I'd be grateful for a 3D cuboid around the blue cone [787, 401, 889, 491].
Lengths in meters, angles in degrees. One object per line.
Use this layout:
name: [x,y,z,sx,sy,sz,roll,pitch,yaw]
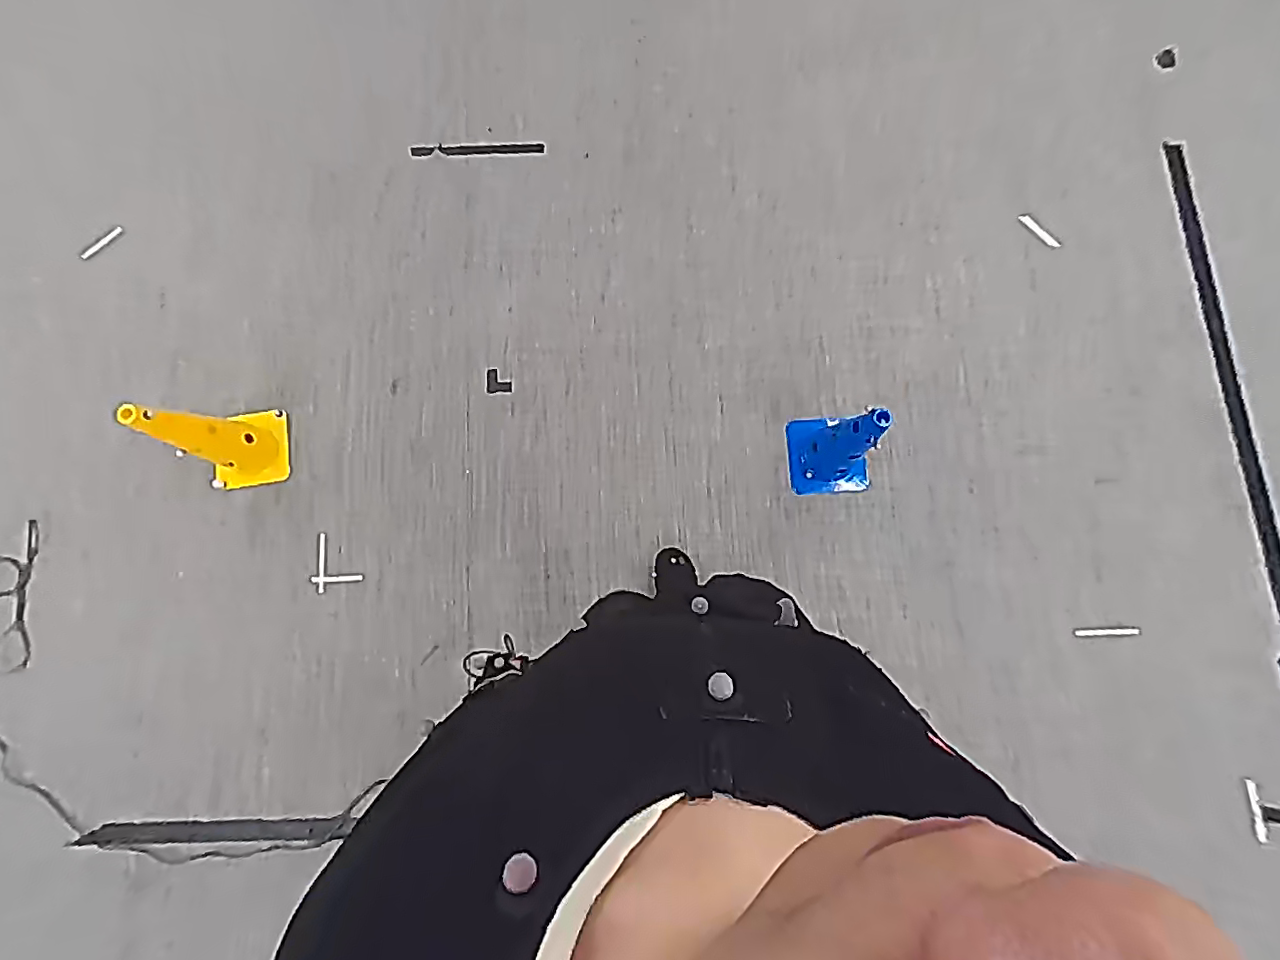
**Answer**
blue cone: [0.480,-0.096,1.244,0.193,0.380,0.192,-2,79,1]
